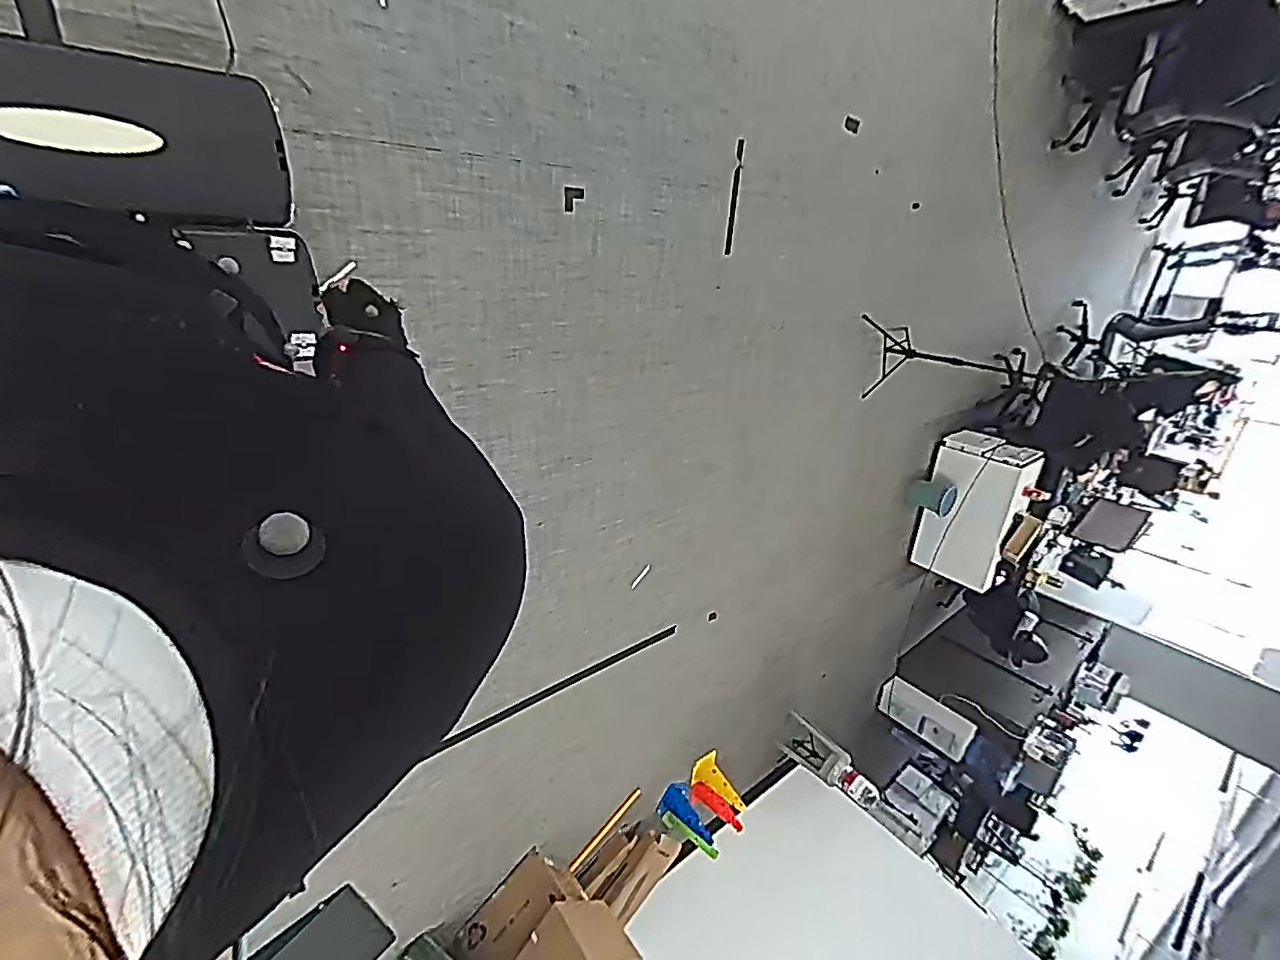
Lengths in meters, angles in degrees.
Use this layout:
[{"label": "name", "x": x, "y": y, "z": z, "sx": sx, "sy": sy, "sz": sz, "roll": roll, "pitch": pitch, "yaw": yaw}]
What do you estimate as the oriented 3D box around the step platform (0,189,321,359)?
[{"label": "step platform", "x": -1.036, "y": -0.410, "z": 1.081, "sx": 0.684, "sy": 0.204, "sz": 0.286, "roll": -15, "pitch": 119, "yaw": -34}]
